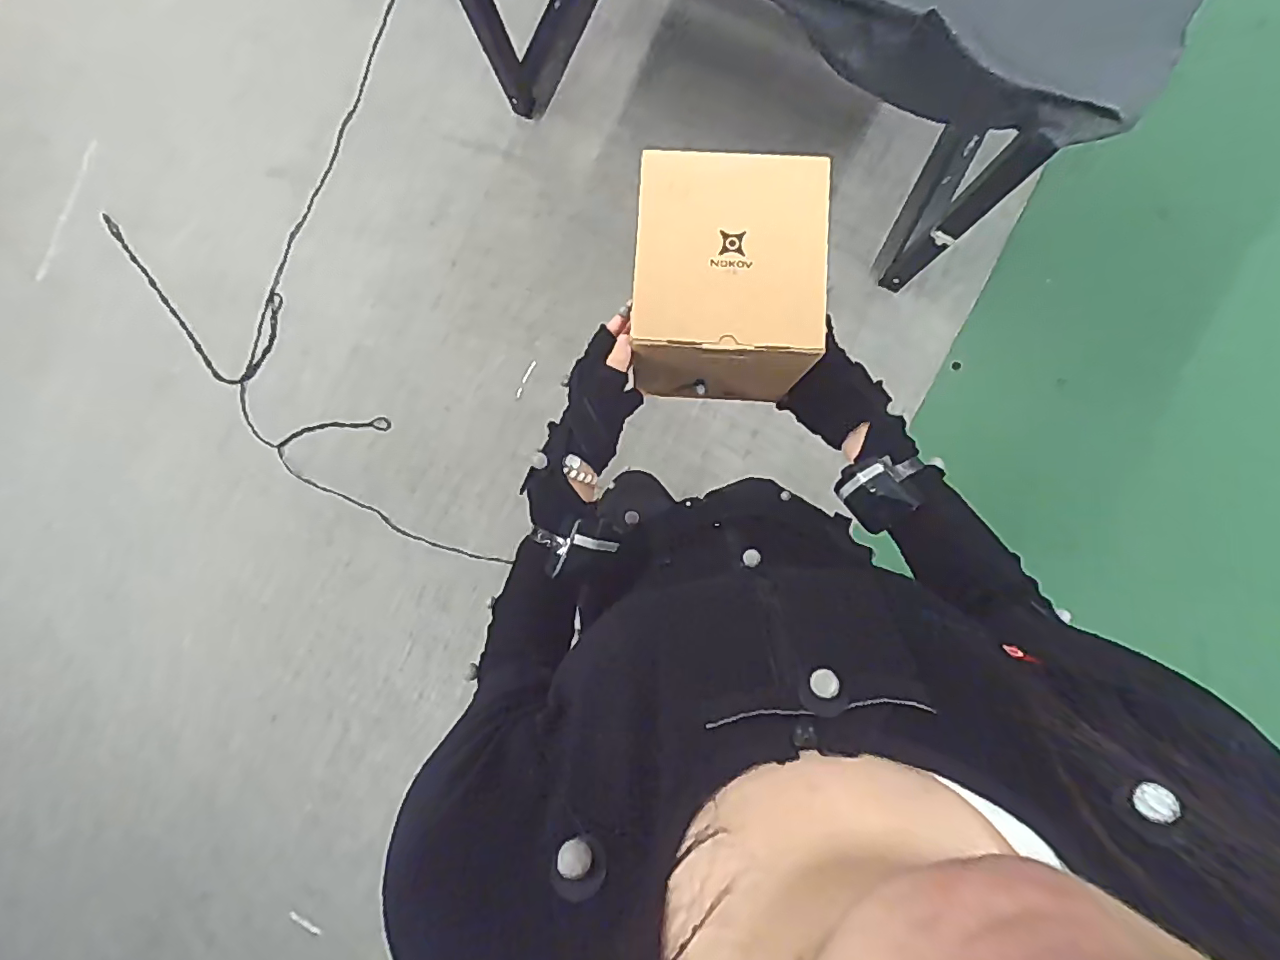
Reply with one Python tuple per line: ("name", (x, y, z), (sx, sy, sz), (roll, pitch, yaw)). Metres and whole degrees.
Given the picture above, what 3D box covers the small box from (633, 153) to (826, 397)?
("small box", (0.080, -0.195, 0.555), (0.168, 0.176, 0.179), (3, 85, 1))
